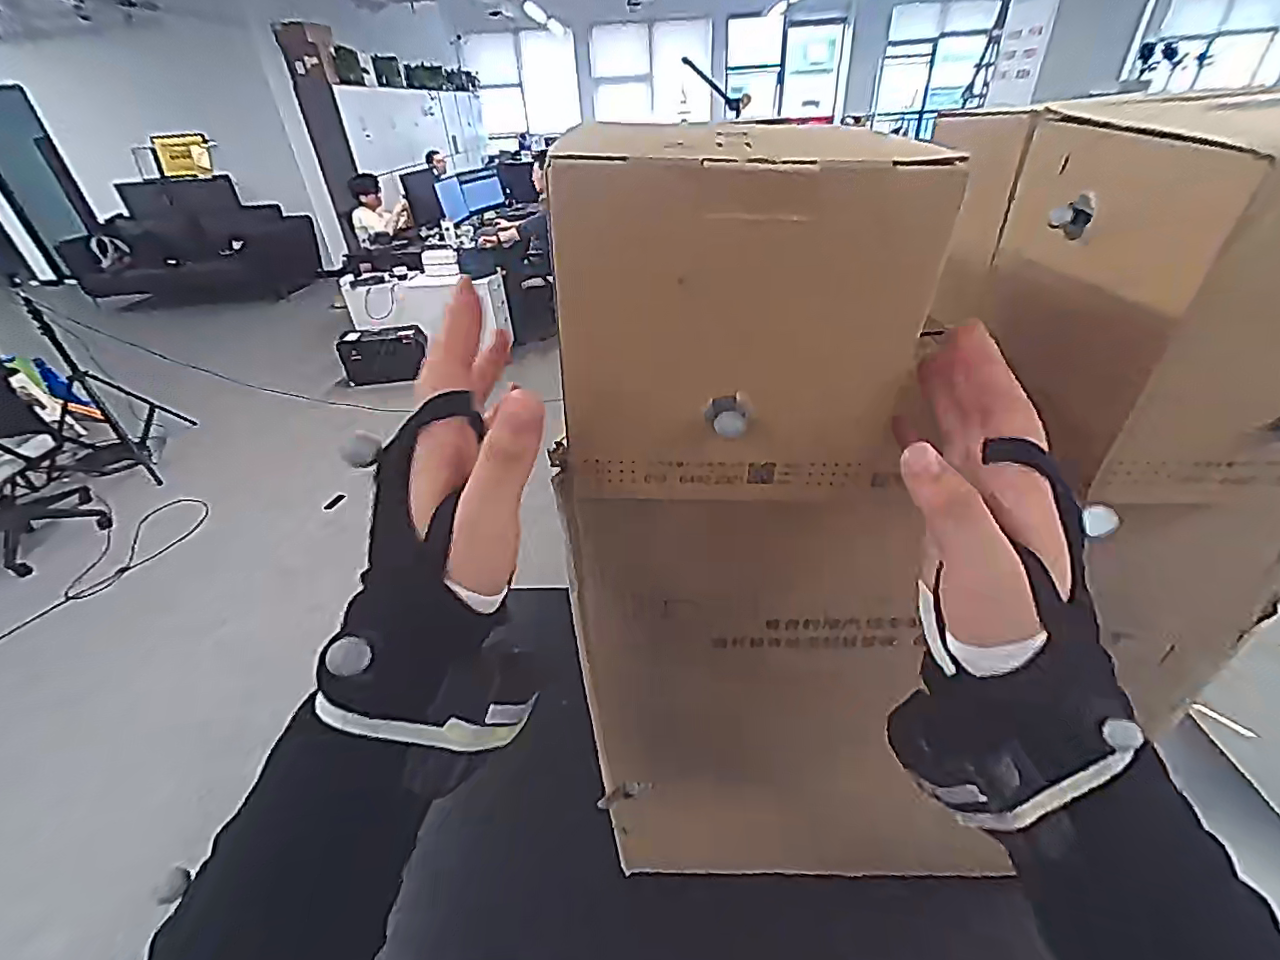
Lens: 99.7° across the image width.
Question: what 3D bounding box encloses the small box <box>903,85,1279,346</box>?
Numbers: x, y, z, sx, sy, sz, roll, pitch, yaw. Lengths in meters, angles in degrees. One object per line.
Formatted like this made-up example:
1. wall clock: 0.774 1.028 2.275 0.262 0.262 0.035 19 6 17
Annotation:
1. small box: 0.347 -0.225 0.466 0.168 0.176 0.179 -2 33 6
